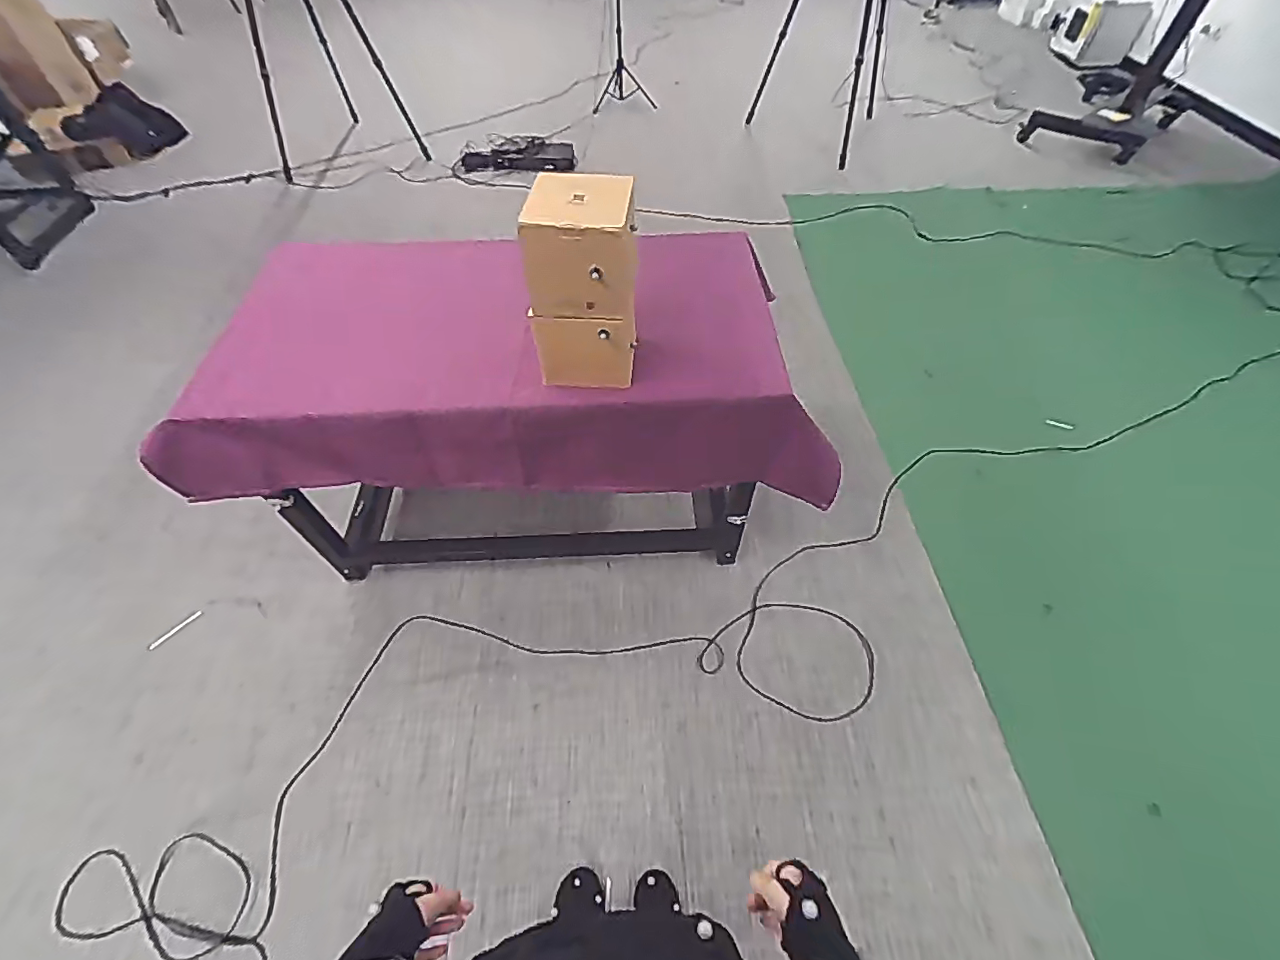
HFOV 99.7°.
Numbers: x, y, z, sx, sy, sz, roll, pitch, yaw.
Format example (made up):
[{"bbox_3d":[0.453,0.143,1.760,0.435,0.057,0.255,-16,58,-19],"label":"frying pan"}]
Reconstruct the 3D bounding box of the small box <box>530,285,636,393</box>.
[{"bbox_3d":[-0.103,-0.288,1.069,0.179,0.176,0.168,2,52,3],"label":"small box"}]

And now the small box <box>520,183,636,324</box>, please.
[{"bbox_3d":[-0.097,-0.392,0.944,0.168,0.176,0.179,5,51,3],"label":"small box"}]
